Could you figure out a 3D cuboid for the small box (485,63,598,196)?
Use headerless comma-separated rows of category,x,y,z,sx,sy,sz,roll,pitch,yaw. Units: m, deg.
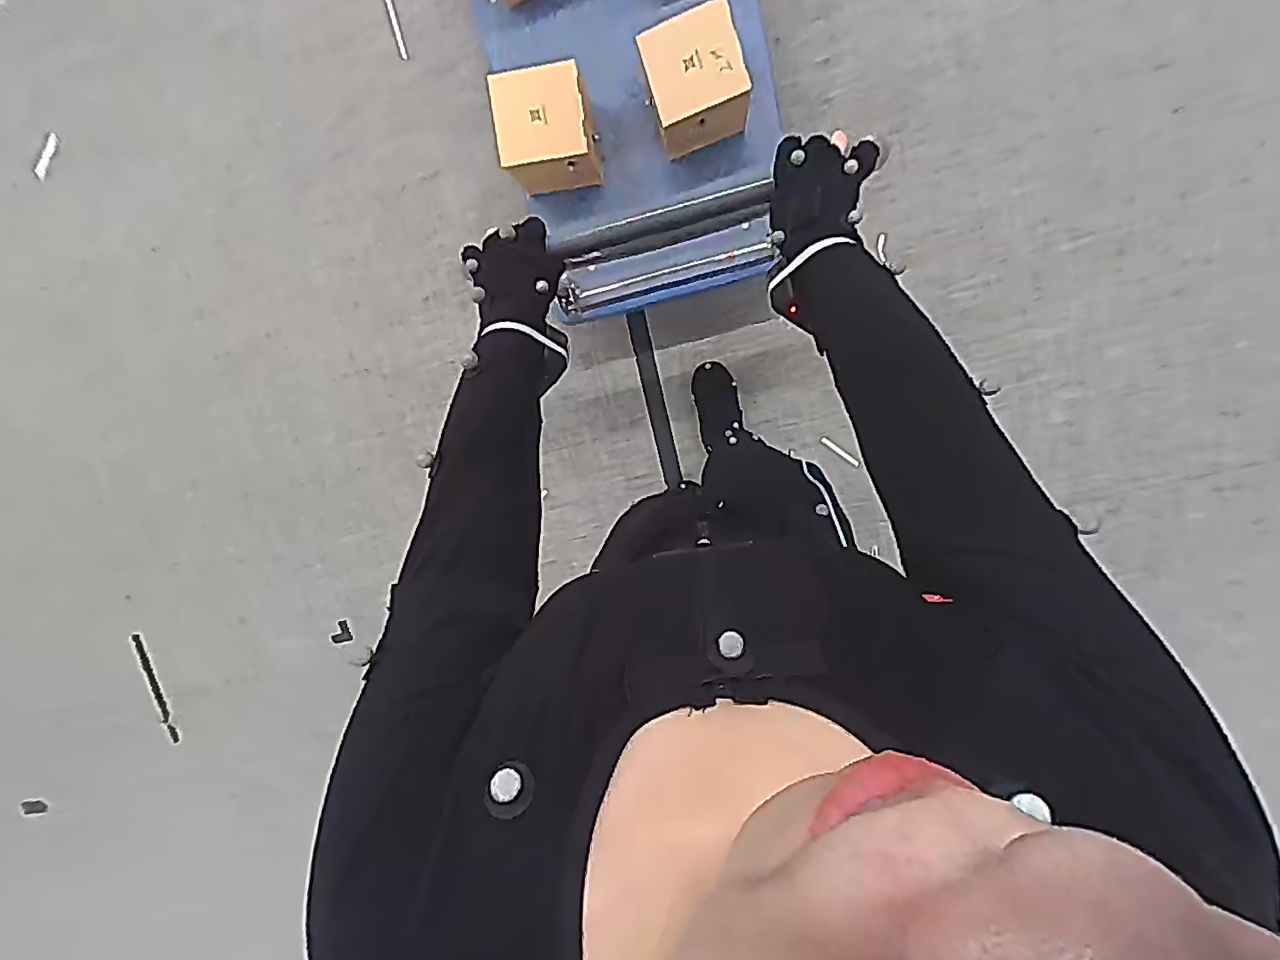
small box,-0.194,-0.703,1.107,0.179,0.176,0.168,-6,100,6

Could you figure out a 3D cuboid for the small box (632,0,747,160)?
small box,0.100,-0.768,1.062,0.179,0.176,0.168,-18,99,9
